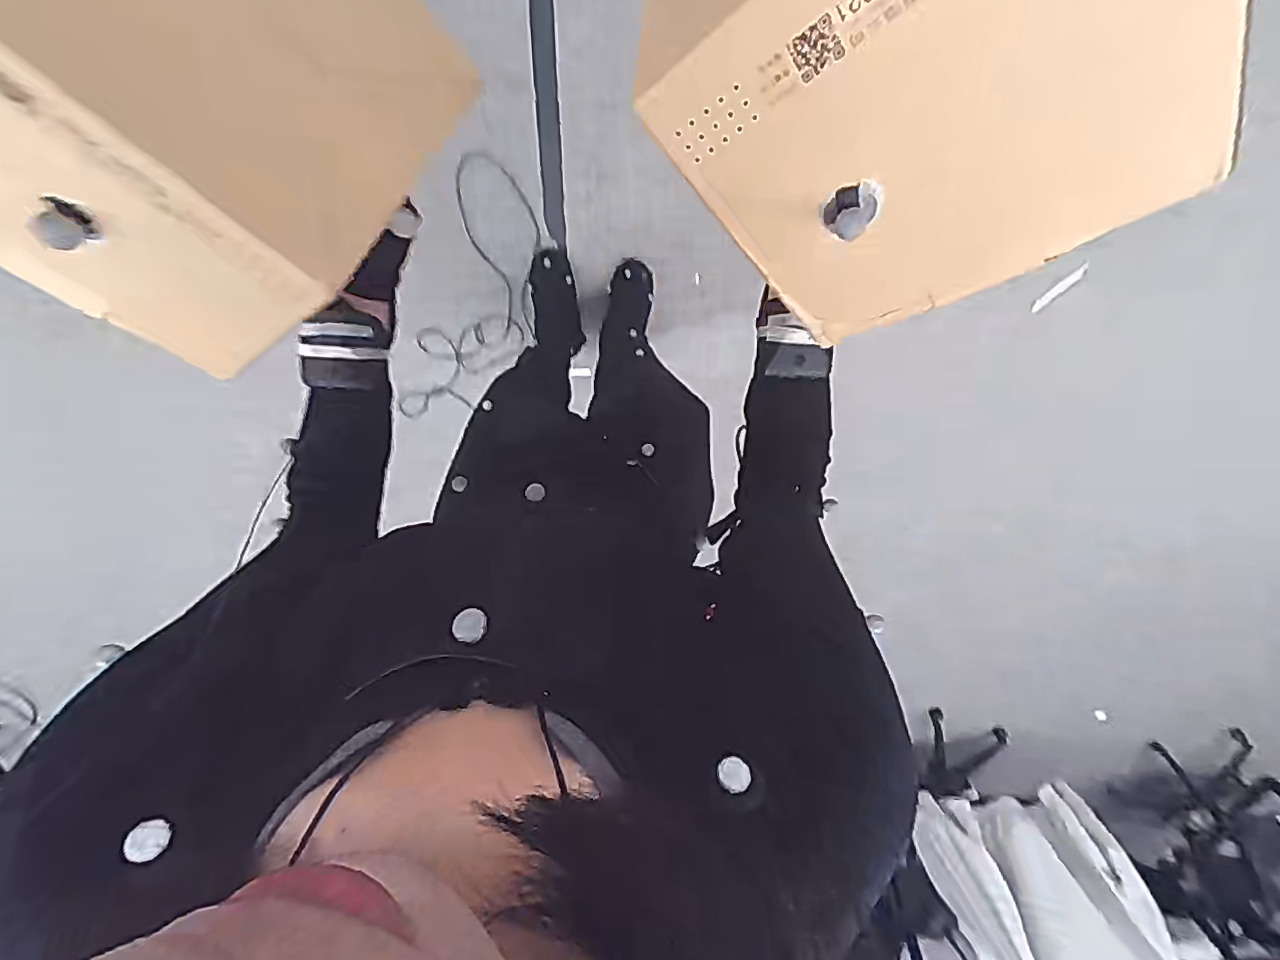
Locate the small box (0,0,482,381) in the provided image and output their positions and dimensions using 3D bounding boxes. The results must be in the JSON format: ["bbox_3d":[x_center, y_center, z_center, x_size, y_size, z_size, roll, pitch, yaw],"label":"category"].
[{"bbox_3d":[-0.210,-0.181,0.255,0.176,0.179,0.168,-10,143,39],"label":"small box"}]

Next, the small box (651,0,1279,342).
[{"bbox_3d":[0.117,-0.200,0.229,0.168,0.179,0.176,-18,145,36],"label":"small box"}]
